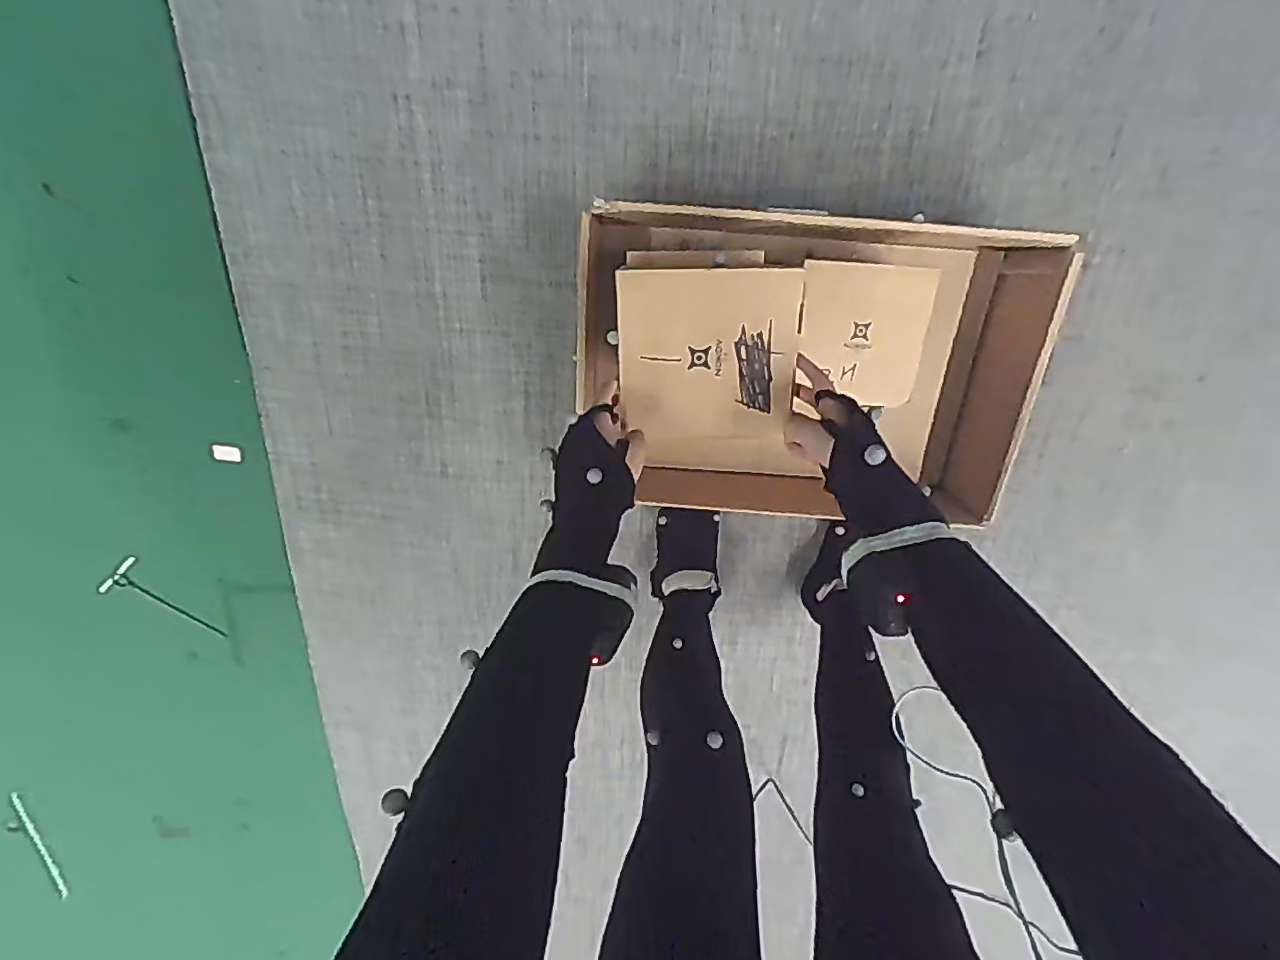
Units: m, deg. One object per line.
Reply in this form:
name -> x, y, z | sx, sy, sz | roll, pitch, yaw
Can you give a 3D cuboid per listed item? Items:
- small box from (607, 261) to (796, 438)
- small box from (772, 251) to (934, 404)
small box -> 0.058, -0.150, 0.595 | 0.179, 0.176, 0.168 | 0, 112, 2
small box -> 0.264, -0.213, 0.741 | 0.168, 0.176, 0.179 | 4, 112, 1
